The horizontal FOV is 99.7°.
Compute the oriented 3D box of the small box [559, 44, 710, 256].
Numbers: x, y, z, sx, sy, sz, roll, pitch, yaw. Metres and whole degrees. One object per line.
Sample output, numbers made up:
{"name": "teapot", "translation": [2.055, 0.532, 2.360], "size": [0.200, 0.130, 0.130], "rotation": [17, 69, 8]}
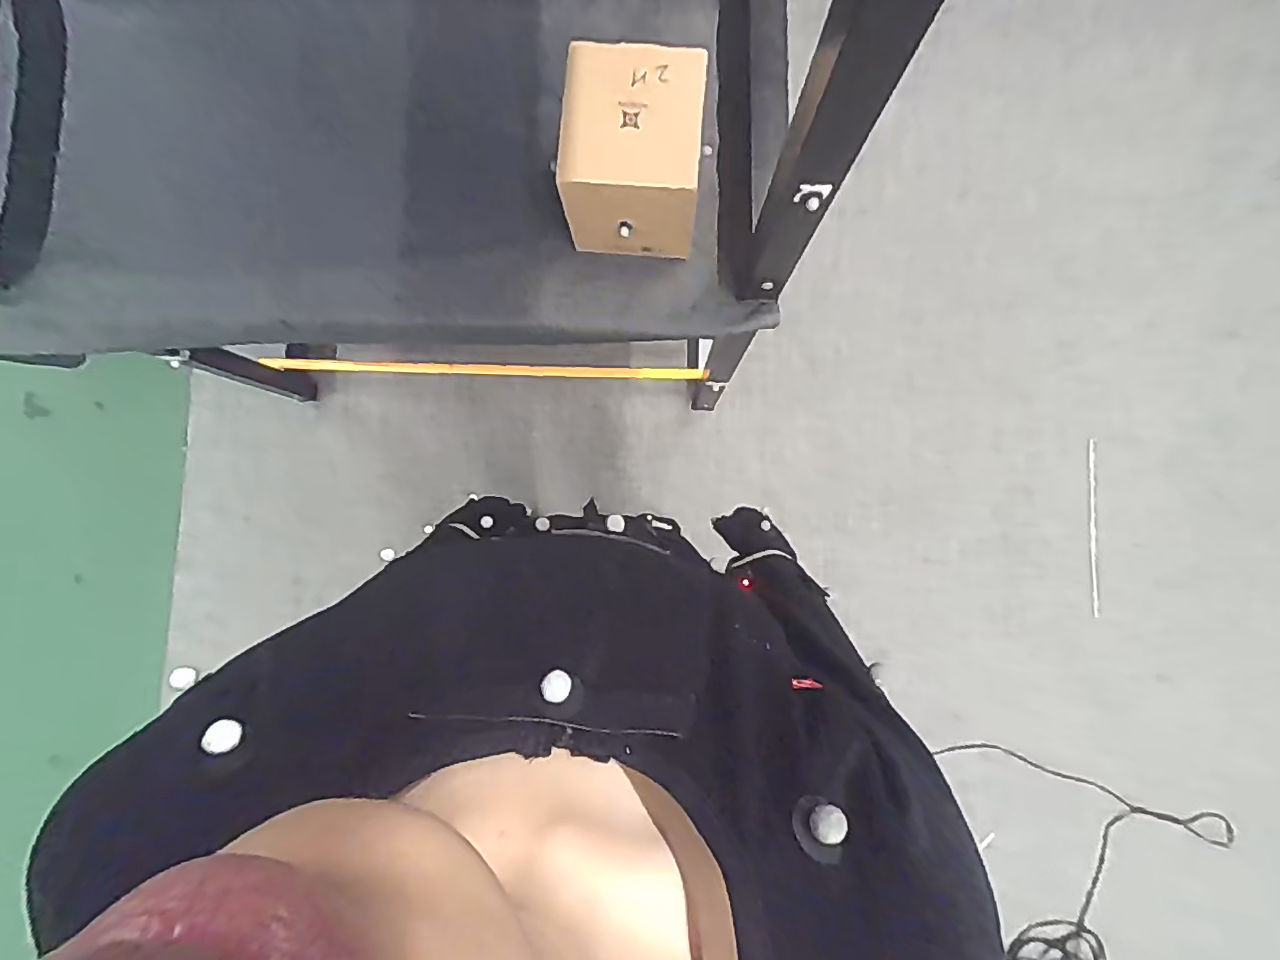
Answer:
{"name": "small box", "translation": [-0.004, -0.418, 0.711], "size": [0.168, 0.176, 0.179], "rotation": [5, 86, 1]}
